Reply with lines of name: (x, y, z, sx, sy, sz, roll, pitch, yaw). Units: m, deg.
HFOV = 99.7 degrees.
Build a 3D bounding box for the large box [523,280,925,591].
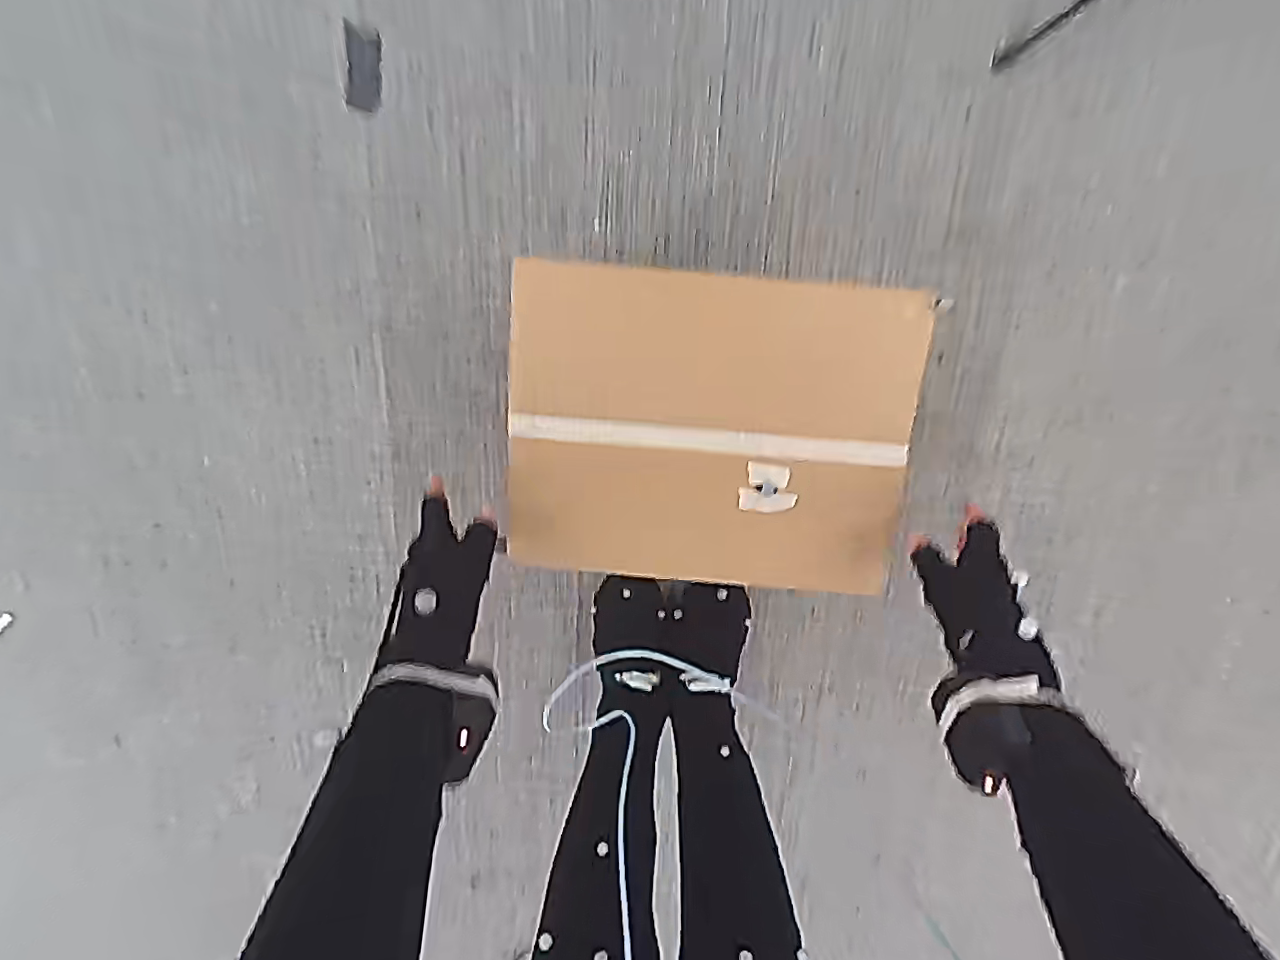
large box: (0.078, -0.069, 0.711, 0.408, 0.320, 0.320, 4, 104, 1)
